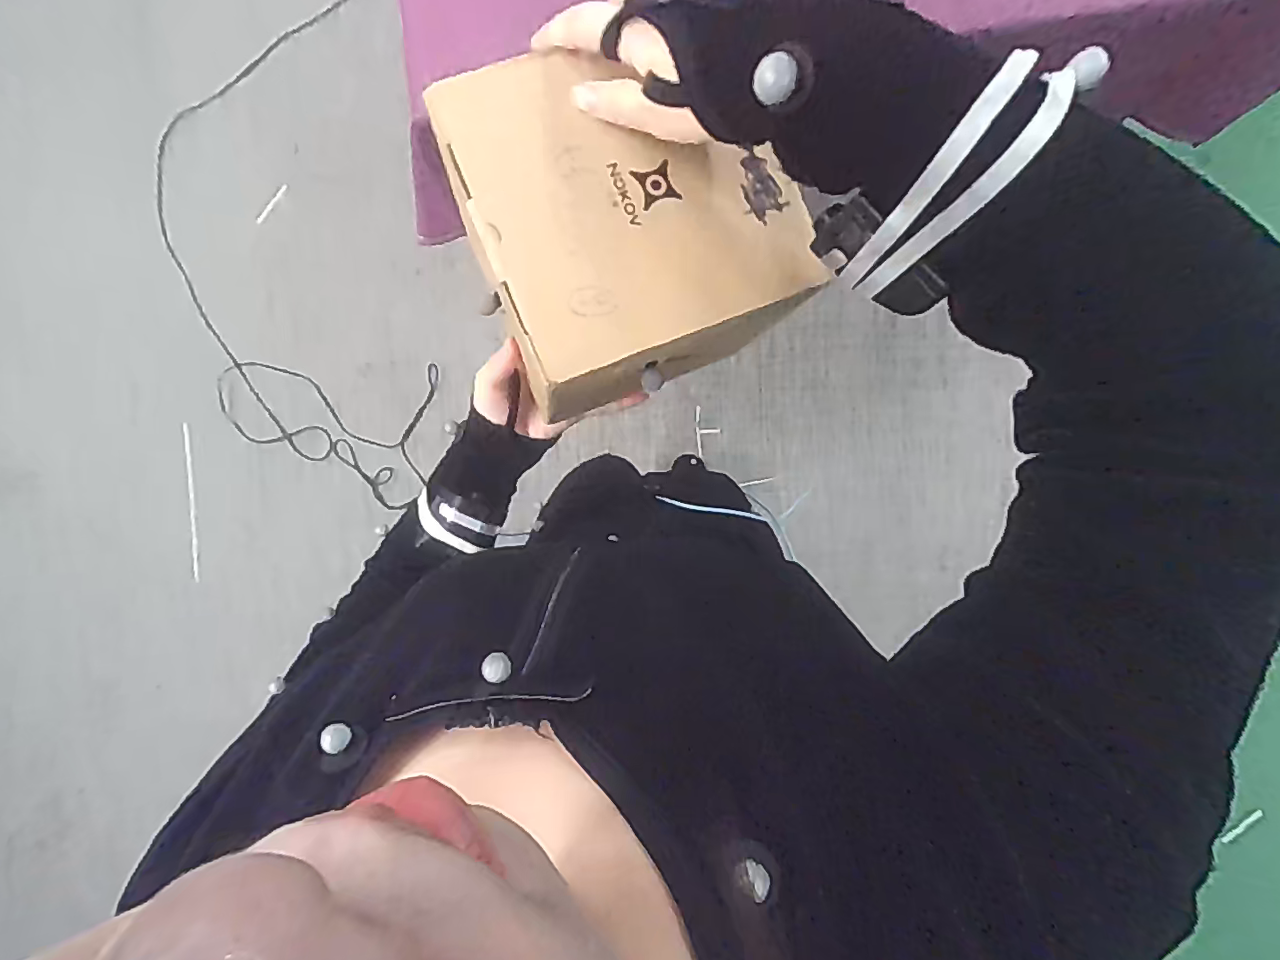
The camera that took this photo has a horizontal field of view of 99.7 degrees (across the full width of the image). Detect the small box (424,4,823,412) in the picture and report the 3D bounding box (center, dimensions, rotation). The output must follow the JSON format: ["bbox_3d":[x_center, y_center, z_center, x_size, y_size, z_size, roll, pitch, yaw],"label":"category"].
[{"bbox_3d":[-0.015,-0.156,0.371,0.179,0.176,0.168,-23,95,-9],"label":"small box"}]
